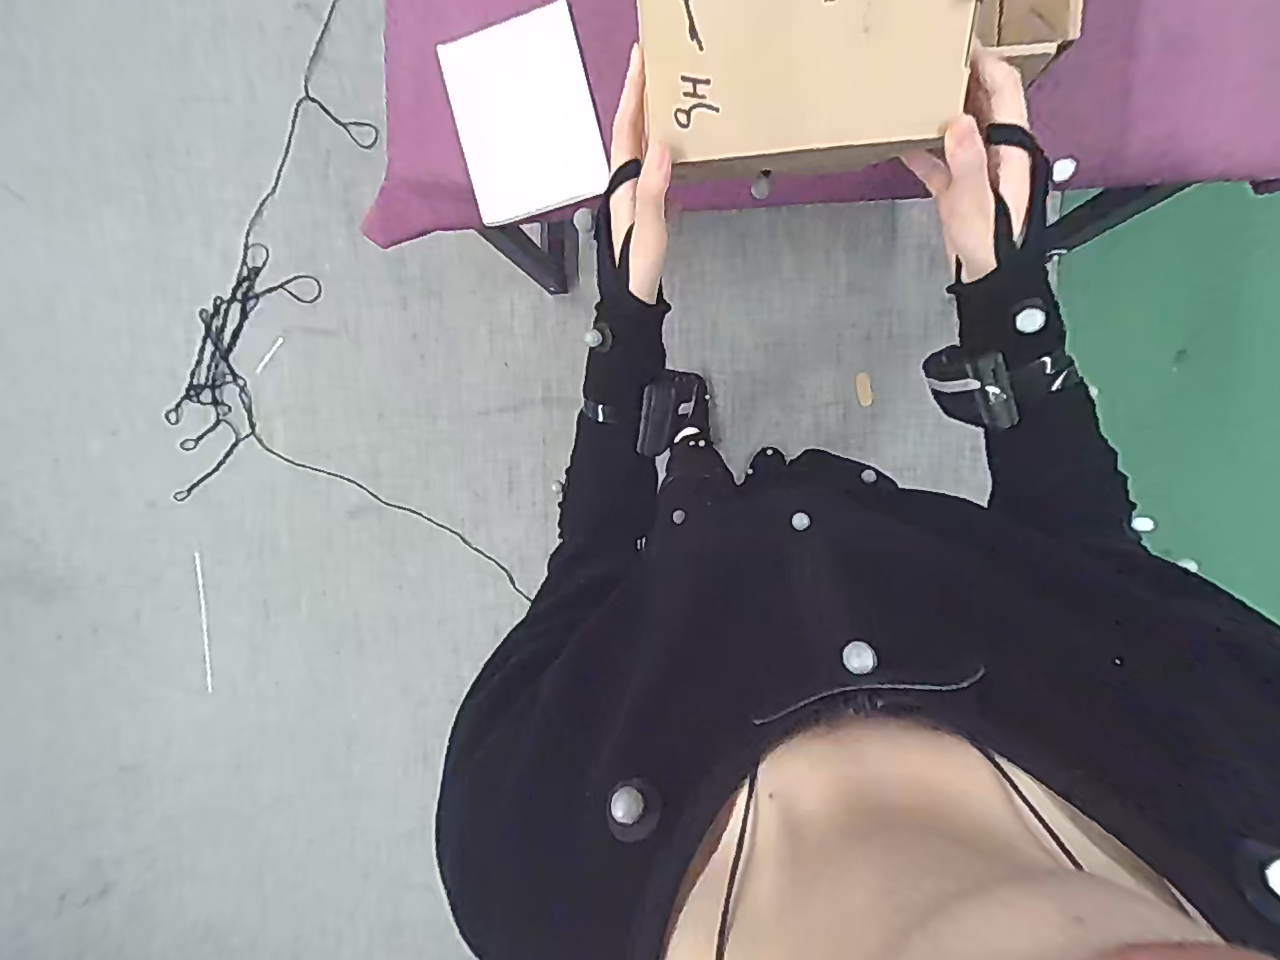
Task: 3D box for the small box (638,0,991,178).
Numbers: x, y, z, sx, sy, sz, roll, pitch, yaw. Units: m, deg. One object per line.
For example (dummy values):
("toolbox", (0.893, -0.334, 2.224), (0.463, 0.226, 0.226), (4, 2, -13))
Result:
("small box", (0.090, -0.294, 0.339), (0.179, 0.176, 0.168), (-4, 114, 1))
